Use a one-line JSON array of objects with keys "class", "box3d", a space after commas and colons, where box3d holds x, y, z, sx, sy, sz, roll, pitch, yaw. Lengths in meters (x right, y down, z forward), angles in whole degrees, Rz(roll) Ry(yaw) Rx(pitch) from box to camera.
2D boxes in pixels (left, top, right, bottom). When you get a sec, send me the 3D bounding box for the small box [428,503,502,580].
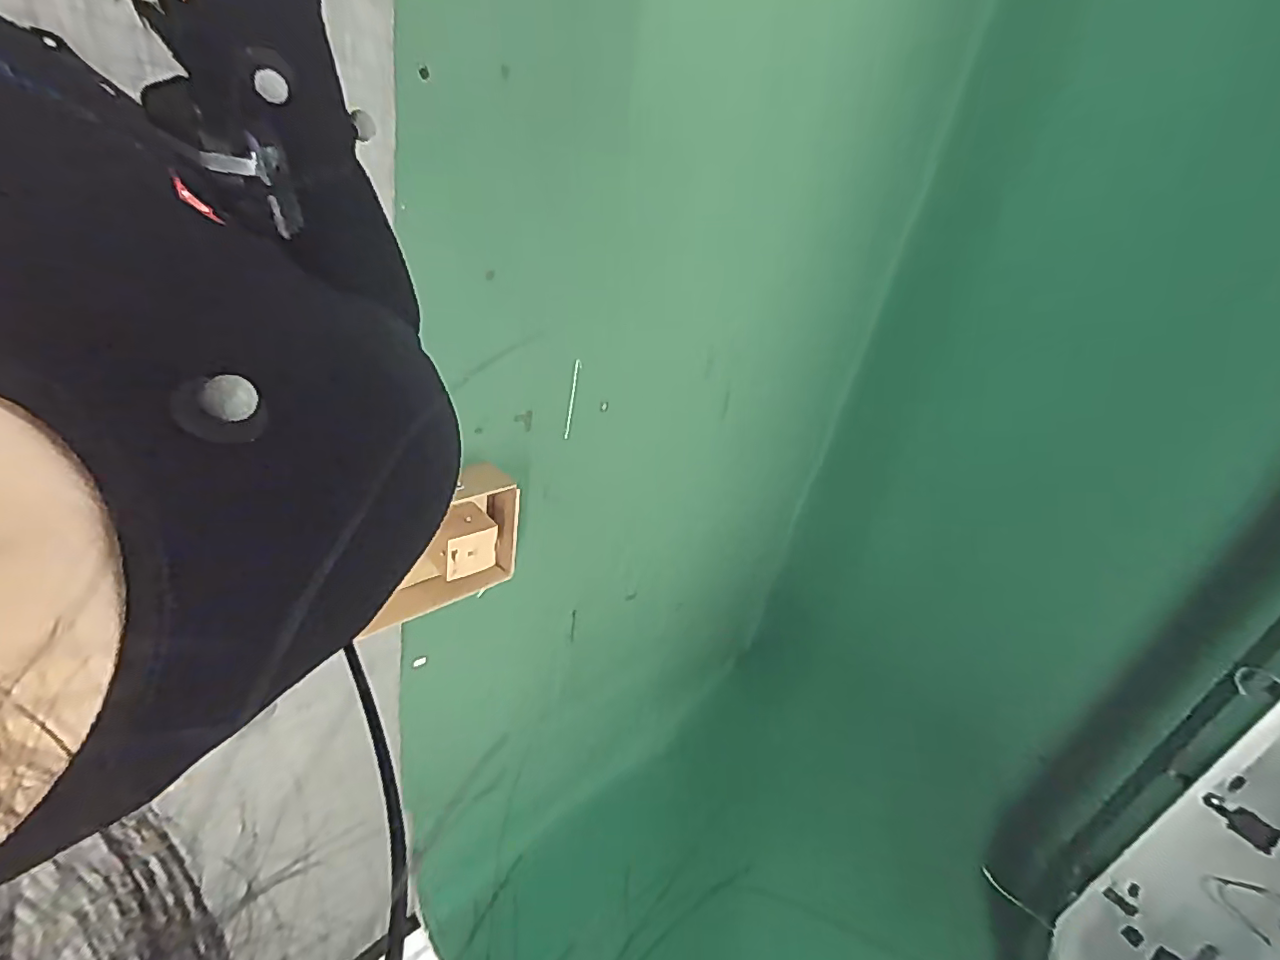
[{"class": "small box", "box3d": [-0.581, 0.196, 1.790, 0.179, 0.176, 0.168, -16, 129, -42]}]
